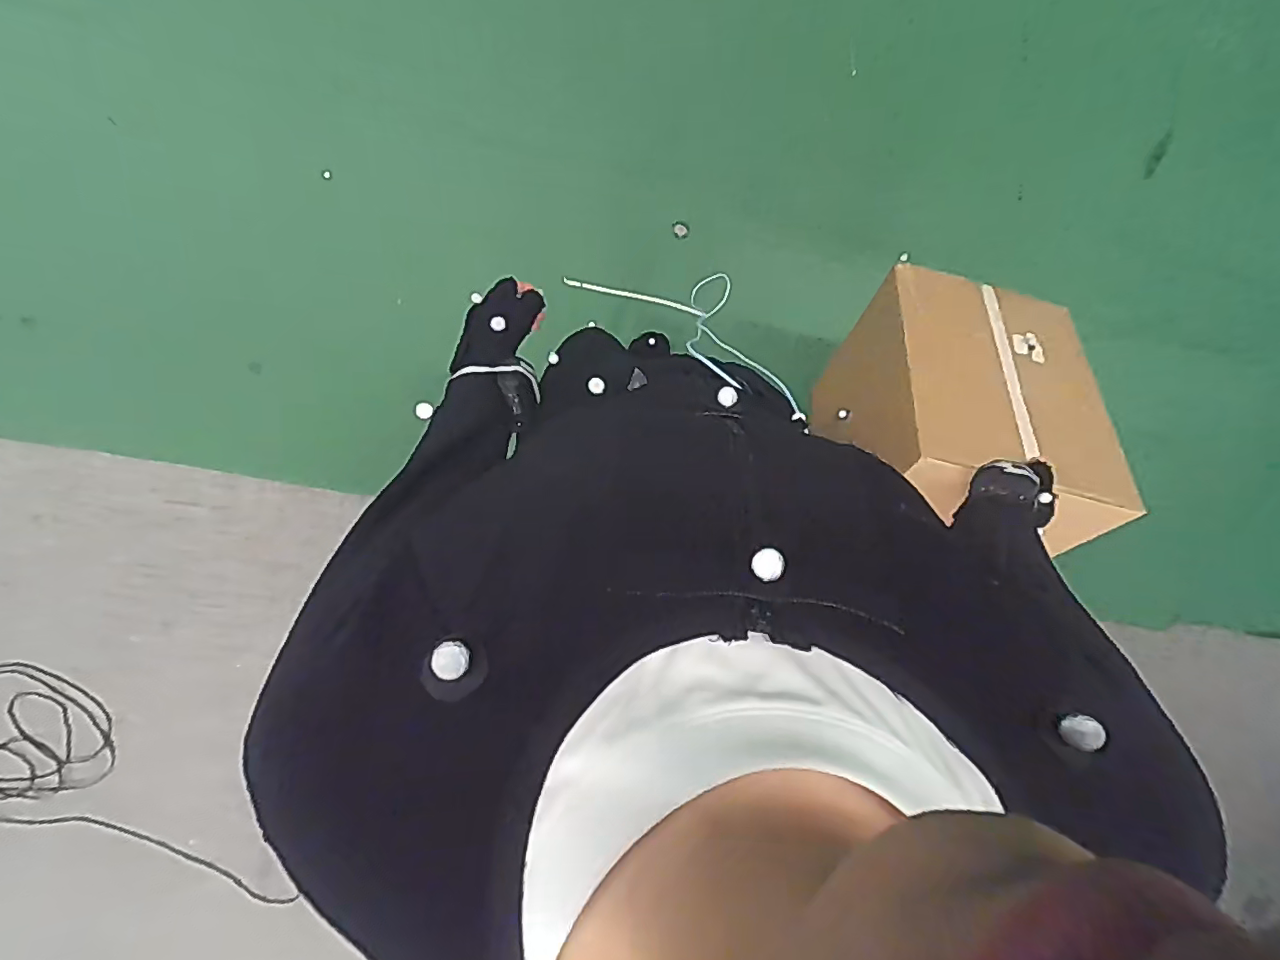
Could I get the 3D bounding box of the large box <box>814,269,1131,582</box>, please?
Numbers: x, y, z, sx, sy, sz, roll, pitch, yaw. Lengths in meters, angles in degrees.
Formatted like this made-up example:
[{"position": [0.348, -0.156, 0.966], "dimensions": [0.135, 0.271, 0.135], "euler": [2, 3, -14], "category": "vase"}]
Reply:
[{"position": [0.511, -0.082, 0.937], "dimensions": [0.320, 0.408, 0.320], "euler": [14, 148, -4], "category": "large box"}]
